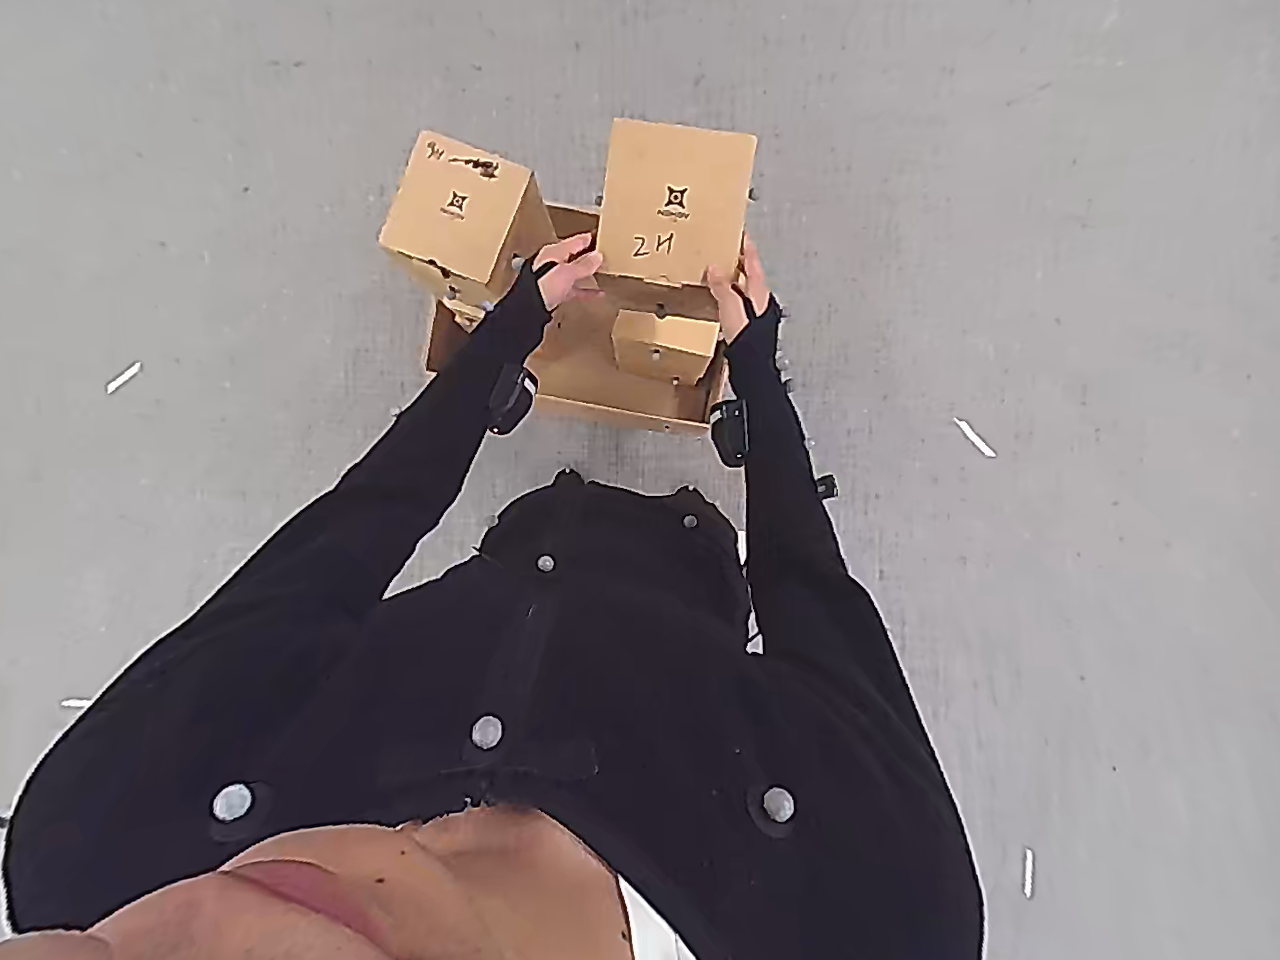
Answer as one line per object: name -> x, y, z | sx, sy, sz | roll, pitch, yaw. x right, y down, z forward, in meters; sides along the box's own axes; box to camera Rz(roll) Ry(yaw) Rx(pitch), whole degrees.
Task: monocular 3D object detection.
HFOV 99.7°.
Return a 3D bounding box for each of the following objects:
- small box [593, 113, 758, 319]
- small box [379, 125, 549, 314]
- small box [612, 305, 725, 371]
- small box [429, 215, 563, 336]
small box -> 0.042, -0.320, 0.689 | 0.168, 0.176, 0.179 | 9, 95, 2
small box -> -0.252, -0.377, 0.819 | 0.168, 0.176, 0.179 | 22, 90, 0
small box -> 0.057, -0.305, 0.981 | 0.179, 0.176, 0.168 | 13, 89, 2
small box -> -0.250, -0.382, 0.984 | 0.168, 0.176, 0.179 | 18, 89, 1
